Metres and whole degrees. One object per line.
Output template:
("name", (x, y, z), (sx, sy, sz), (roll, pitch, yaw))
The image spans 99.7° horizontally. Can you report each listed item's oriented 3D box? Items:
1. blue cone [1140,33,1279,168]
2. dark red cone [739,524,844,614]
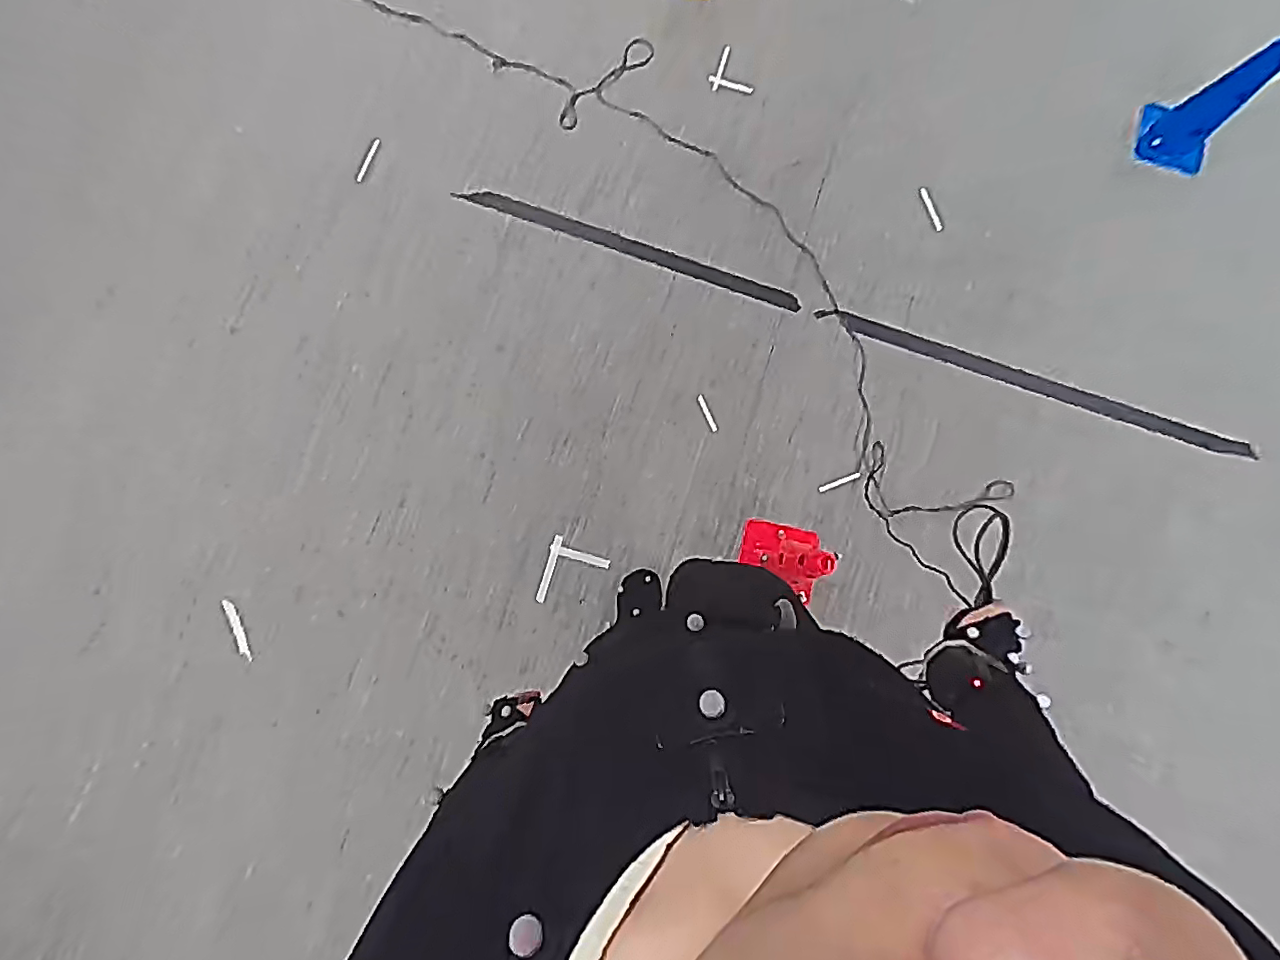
("blue cone", (1.582, -1.048, 1.438), (0.193, 0.380, 0.192), (19, 80, 2))
("dark red cone", (0.357, 0.191, 1.185), (0.202, 0.394, 0.201), (11, 80, 1))
